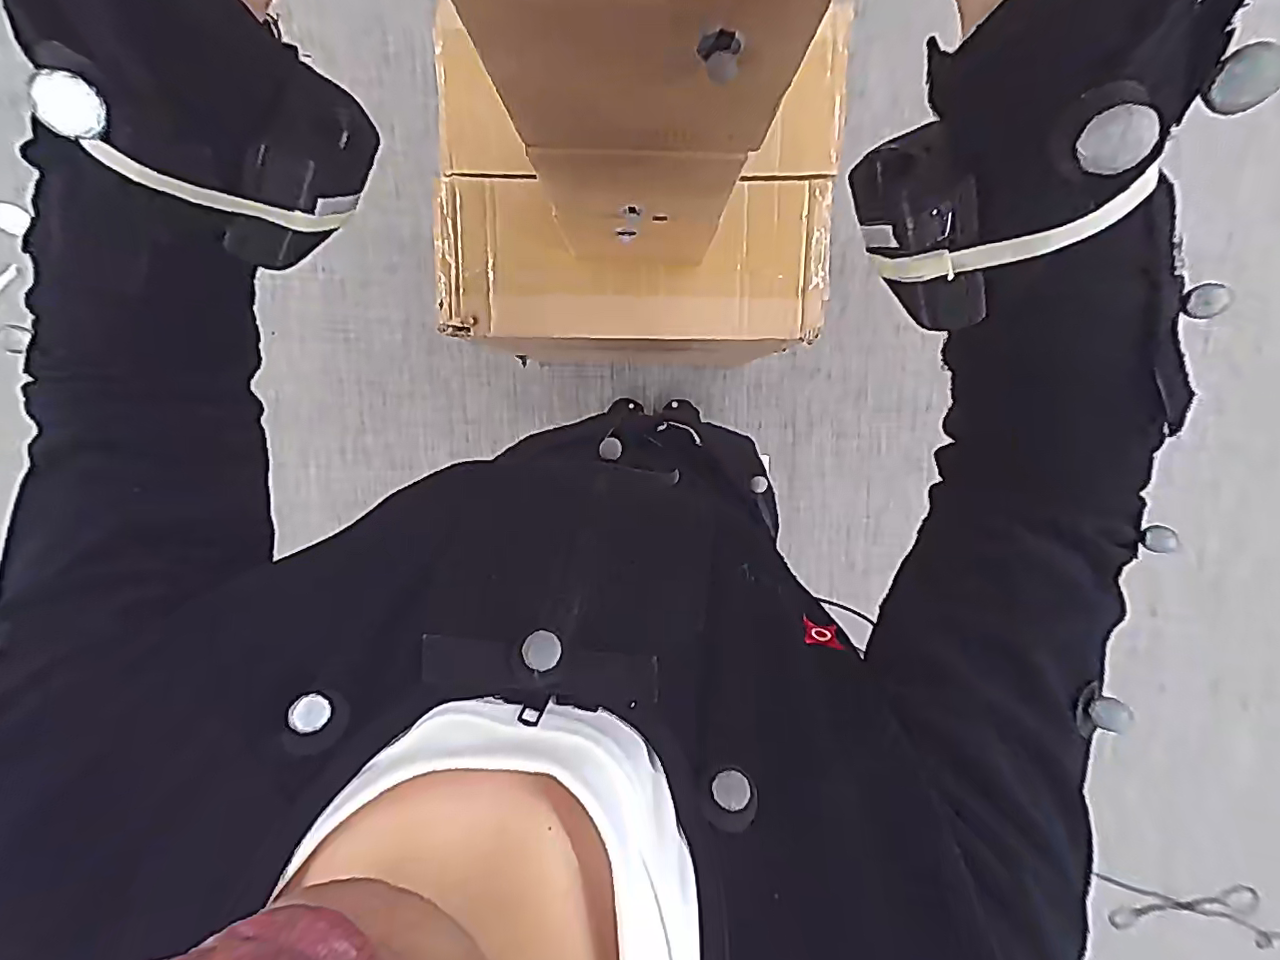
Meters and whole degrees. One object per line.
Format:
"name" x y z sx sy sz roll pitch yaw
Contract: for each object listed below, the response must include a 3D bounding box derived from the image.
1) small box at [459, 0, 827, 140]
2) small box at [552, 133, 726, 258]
"small box" 0.003 -0.312 0.297 0.179 0.176 0.168 2 99 1
"small box" 0.002 -0.363 0.623 0.179 0.176 0.168 2 99 0
